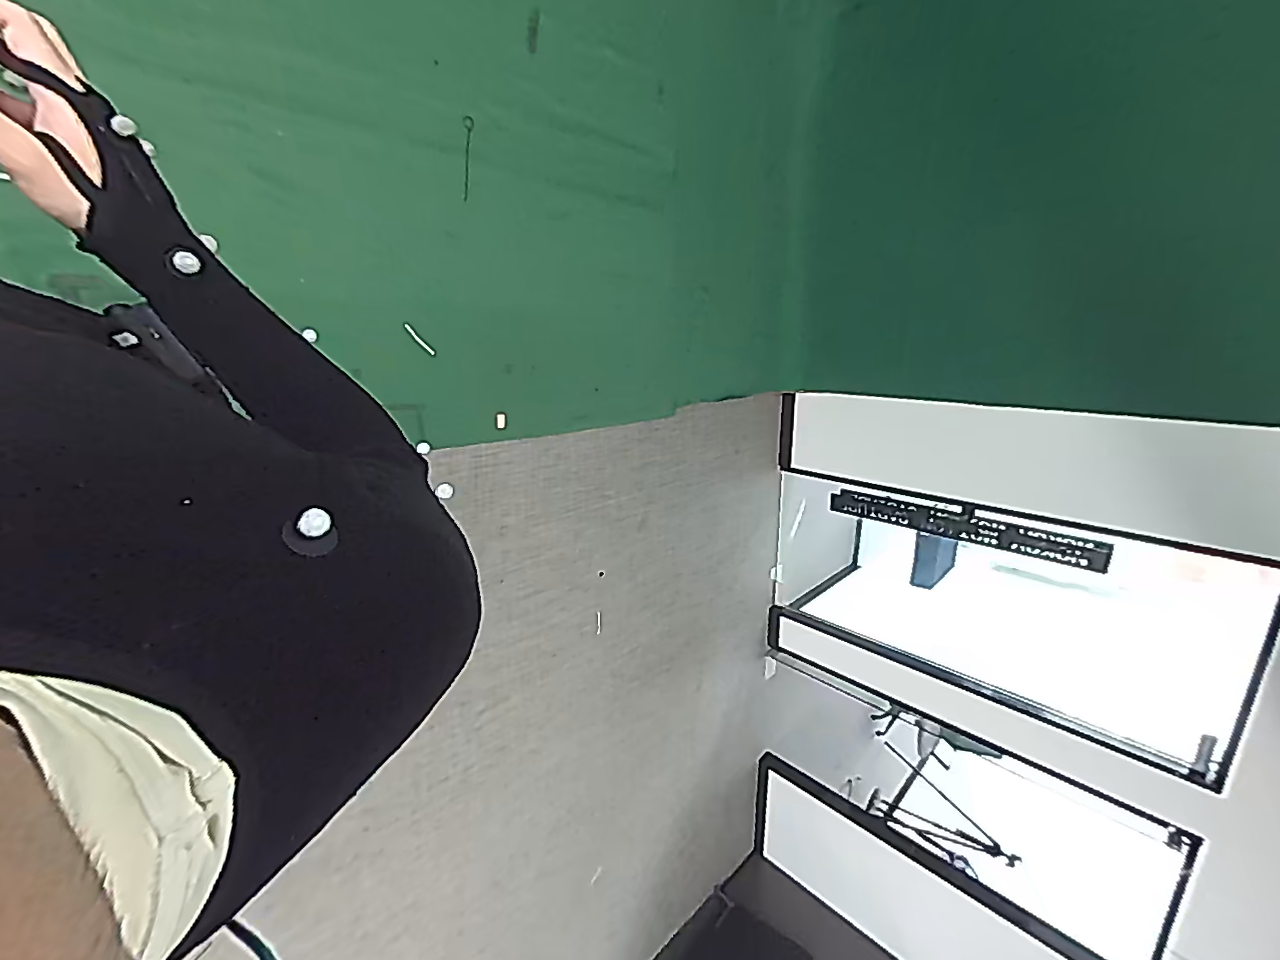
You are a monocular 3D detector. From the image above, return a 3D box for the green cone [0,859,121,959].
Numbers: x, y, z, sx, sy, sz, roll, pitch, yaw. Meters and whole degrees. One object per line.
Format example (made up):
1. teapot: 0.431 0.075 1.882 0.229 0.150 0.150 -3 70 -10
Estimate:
1. green cone: -1.244 1.043 1.138 0.202 0.368 0.200 -13 110 -42
